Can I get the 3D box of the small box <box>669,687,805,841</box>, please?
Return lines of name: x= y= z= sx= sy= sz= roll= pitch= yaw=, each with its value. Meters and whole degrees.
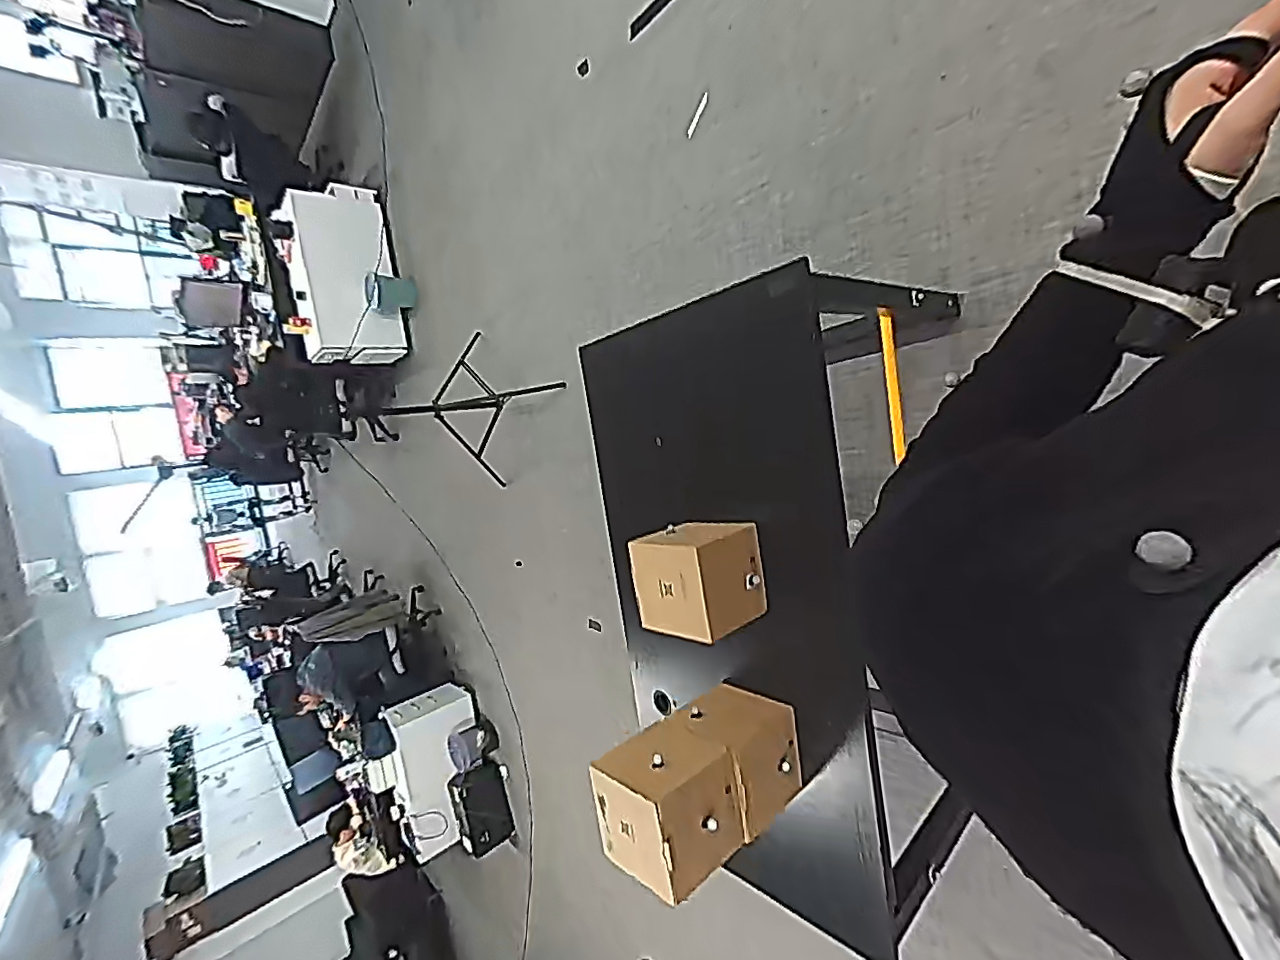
small box: x=0.179 y=0.508 z=1.001 sx=0.179 sy=0.176 sz=0.168 roll=-2 pitch=99 yaw=49

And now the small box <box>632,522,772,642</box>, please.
small box: x=0.114 y=0.177 z=0.994 sx=0.179 sy=0.176 sz=0.168 roll=-6 pitch=97 yaw=49

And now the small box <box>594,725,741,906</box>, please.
small box: x=0.052 y=0.538 z=0.902 sx=0.179 sy=0.176 sz=0.168 roll=-6 pitch=95 yaw=49
